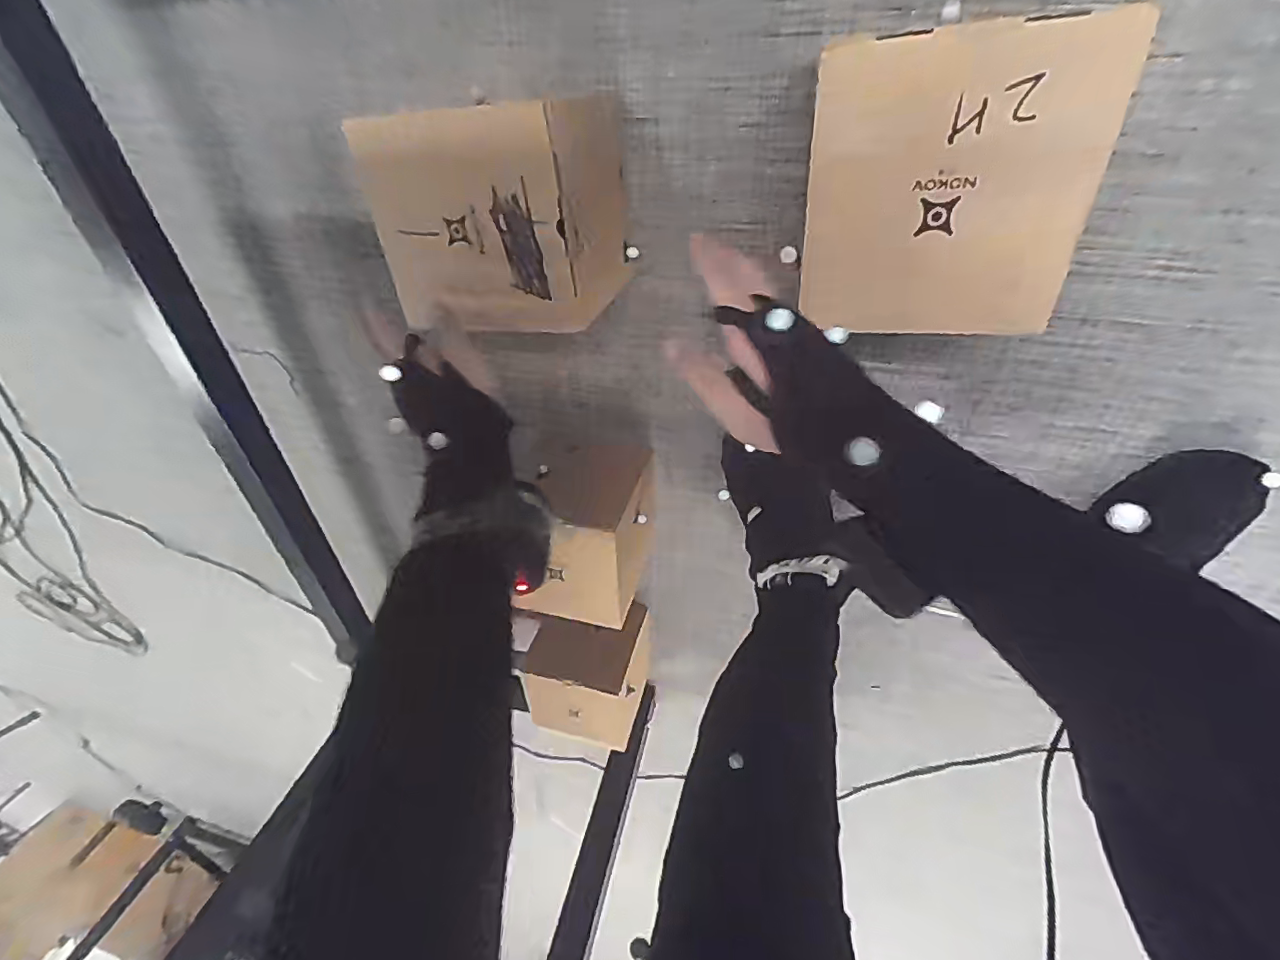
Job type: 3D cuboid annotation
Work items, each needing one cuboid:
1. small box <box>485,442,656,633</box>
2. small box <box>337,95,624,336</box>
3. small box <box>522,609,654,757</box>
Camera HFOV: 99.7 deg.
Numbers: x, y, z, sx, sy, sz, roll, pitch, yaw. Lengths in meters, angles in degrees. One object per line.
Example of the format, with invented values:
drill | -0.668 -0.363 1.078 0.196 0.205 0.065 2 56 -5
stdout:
small box | -0.079 0.068 0.719 0.168 0.176 0.179 8 129 15
small box | -0.120 -0.242 0.495 0.179 0.176 0.168 5 127 17
small box | -0.076 0.327 0.915 0.168 0.176 0.179 7 127 15
